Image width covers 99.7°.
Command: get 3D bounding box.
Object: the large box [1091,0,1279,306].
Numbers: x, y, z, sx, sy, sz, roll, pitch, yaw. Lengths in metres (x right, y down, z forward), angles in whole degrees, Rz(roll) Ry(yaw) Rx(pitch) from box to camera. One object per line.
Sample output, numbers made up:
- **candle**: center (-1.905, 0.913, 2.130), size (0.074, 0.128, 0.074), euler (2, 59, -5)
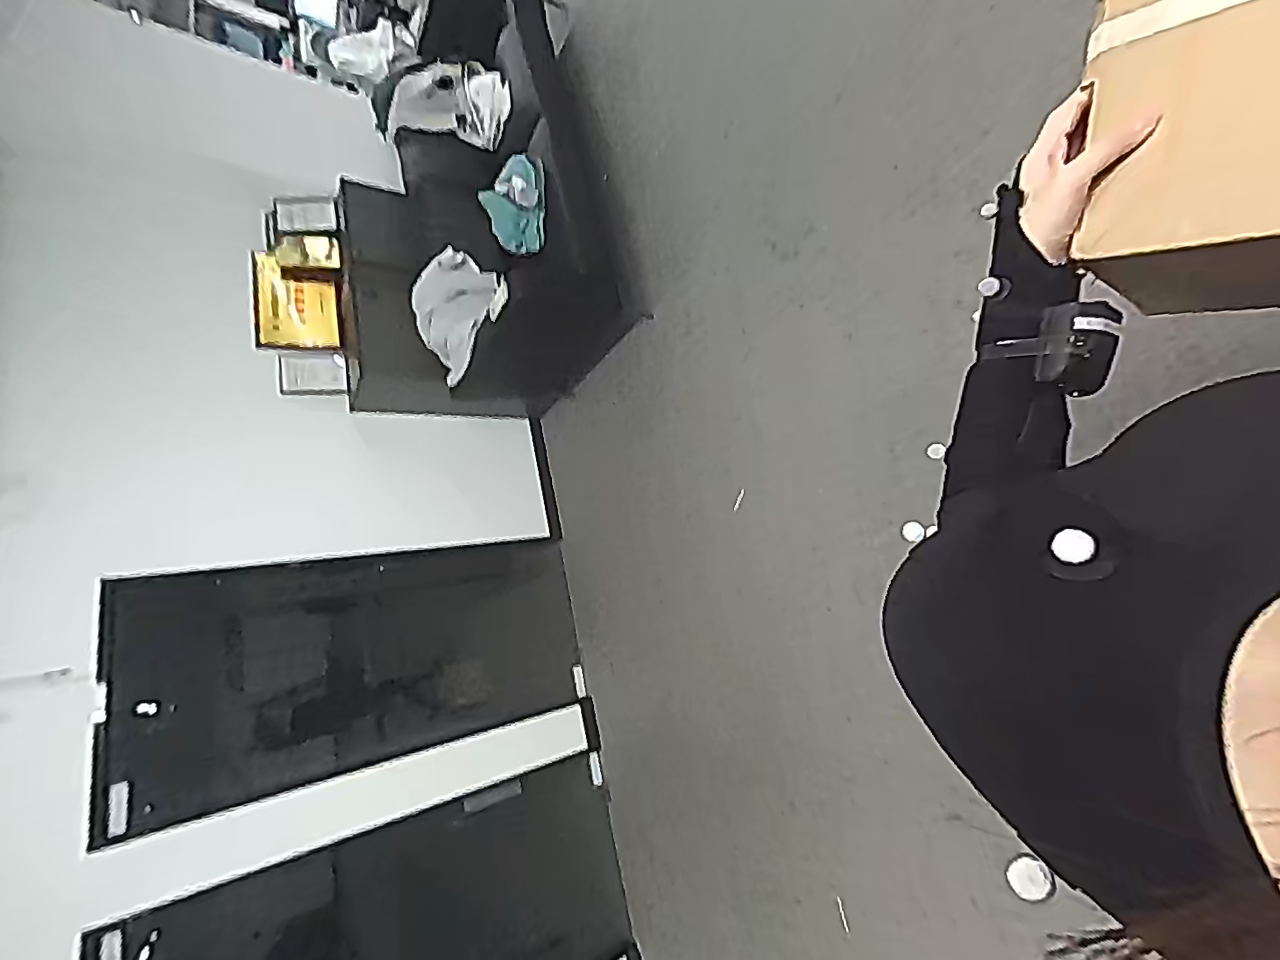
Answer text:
- **large box**: center (0.589, -0.312, 0.344), size (0.408, 0.320, 0.320), euler (12, 103, 48)
